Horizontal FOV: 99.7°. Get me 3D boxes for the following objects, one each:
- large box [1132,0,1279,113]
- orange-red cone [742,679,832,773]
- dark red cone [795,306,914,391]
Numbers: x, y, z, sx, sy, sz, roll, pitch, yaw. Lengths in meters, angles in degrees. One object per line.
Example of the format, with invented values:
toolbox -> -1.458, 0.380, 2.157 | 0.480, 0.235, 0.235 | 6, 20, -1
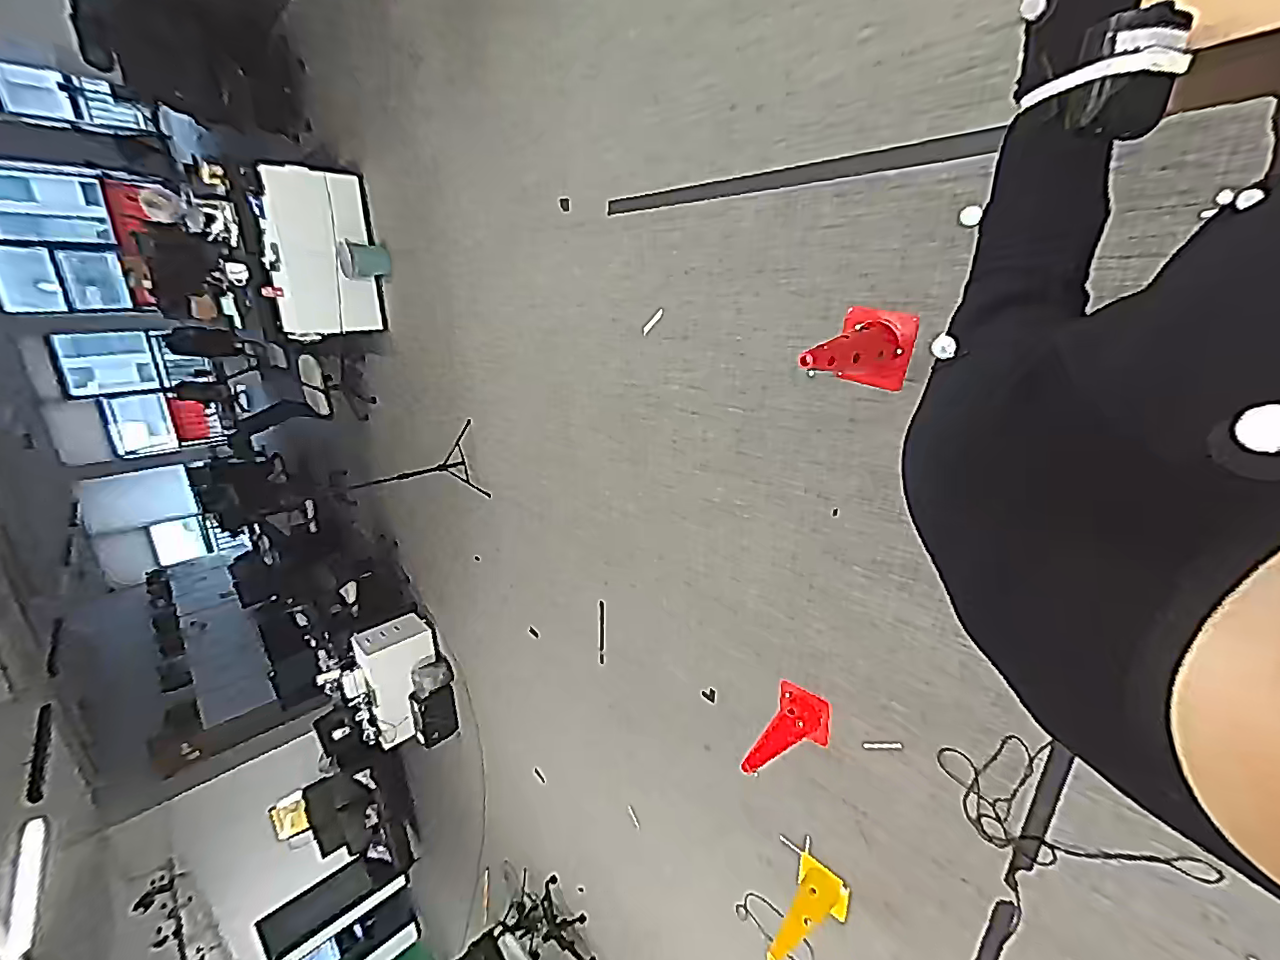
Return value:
large box -> 0.563, -0.441, 0.278 | 0.408, 0.320, 0.320 | 15, 119, 45
orange-red cone -> 0.474, 0.882, 1.846 | 0.198, 0.360, 0.199 | 17, 118, 45
dark red cone -> 0.499, -0.316, 1.341 | 0.201, 0.394, 0.202 | 26, 122, 39
